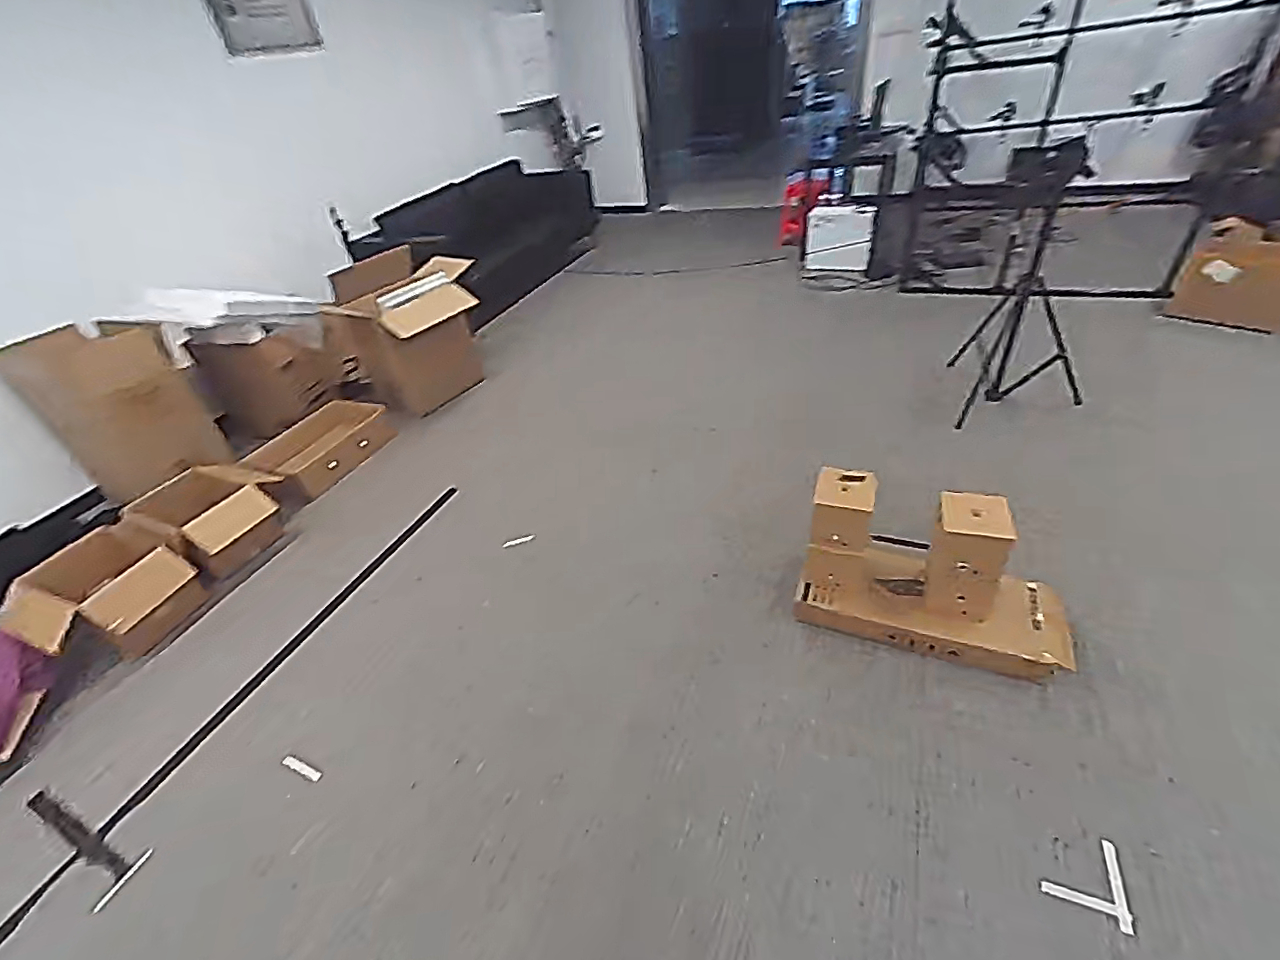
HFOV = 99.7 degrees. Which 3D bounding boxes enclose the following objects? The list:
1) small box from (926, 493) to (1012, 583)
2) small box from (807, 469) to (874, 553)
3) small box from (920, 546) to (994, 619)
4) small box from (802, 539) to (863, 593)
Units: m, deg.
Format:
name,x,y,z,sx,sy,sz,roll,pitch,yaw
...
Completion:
name,x,y,z,sx,sy,sz,roll,pitch,yaw
small box,0.917,0.161,1.525,0.168,0.176,0.179,6,40,19
small box,0.612,0.094,1.660,0.168,0.176,0.179,9,41,20
small box,0.946,0.290,1.622,0.168,0.176,0.179,8,41,22
small box,0.625,0.232,1.749,0.168,0.176,0.179,10,41,22
